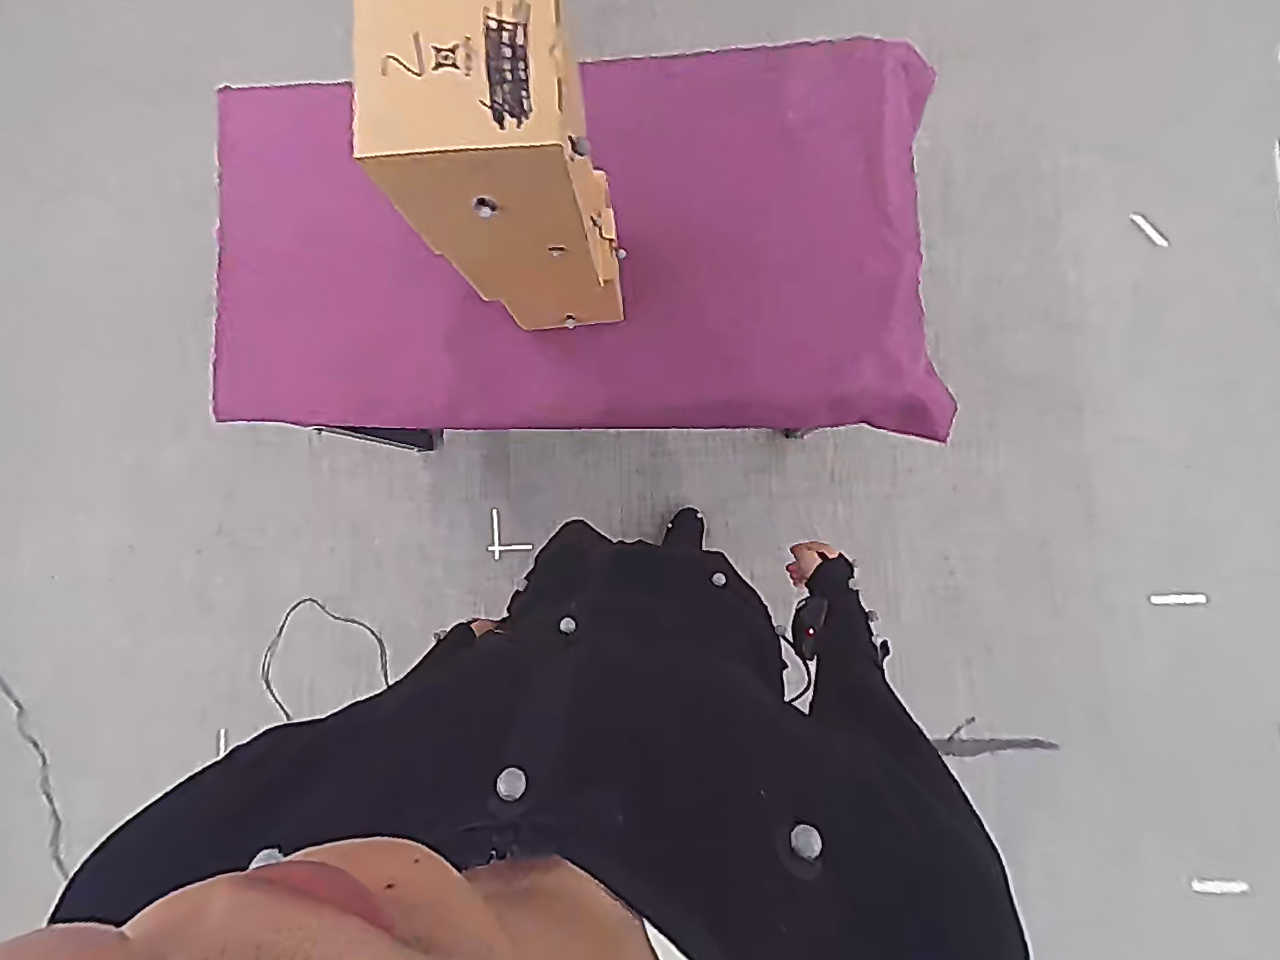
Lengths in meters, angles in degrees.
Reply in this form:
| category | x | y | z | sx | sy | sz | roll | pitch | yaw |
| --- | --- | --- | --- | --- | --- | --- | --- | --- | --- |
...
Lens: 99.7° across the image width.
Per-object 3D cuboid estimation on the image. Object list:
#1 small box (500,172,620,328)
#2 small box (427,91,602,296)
| category | x | y | z | sx | sy | sz | roll | pitch | yaw |
| --- | --- | --- | --- | --- | --- | --- | --- | --- | --- |
| small box | -0.124 | -0.351 | 0.854 | 0.179 | 0.176 | 0.168 | -5 | 86 | 2 |
| small box | -0.150 | -0.349 | 0.691 | 0.179 | 0.176 | 0.168 | -5 | 86 | 2 |
